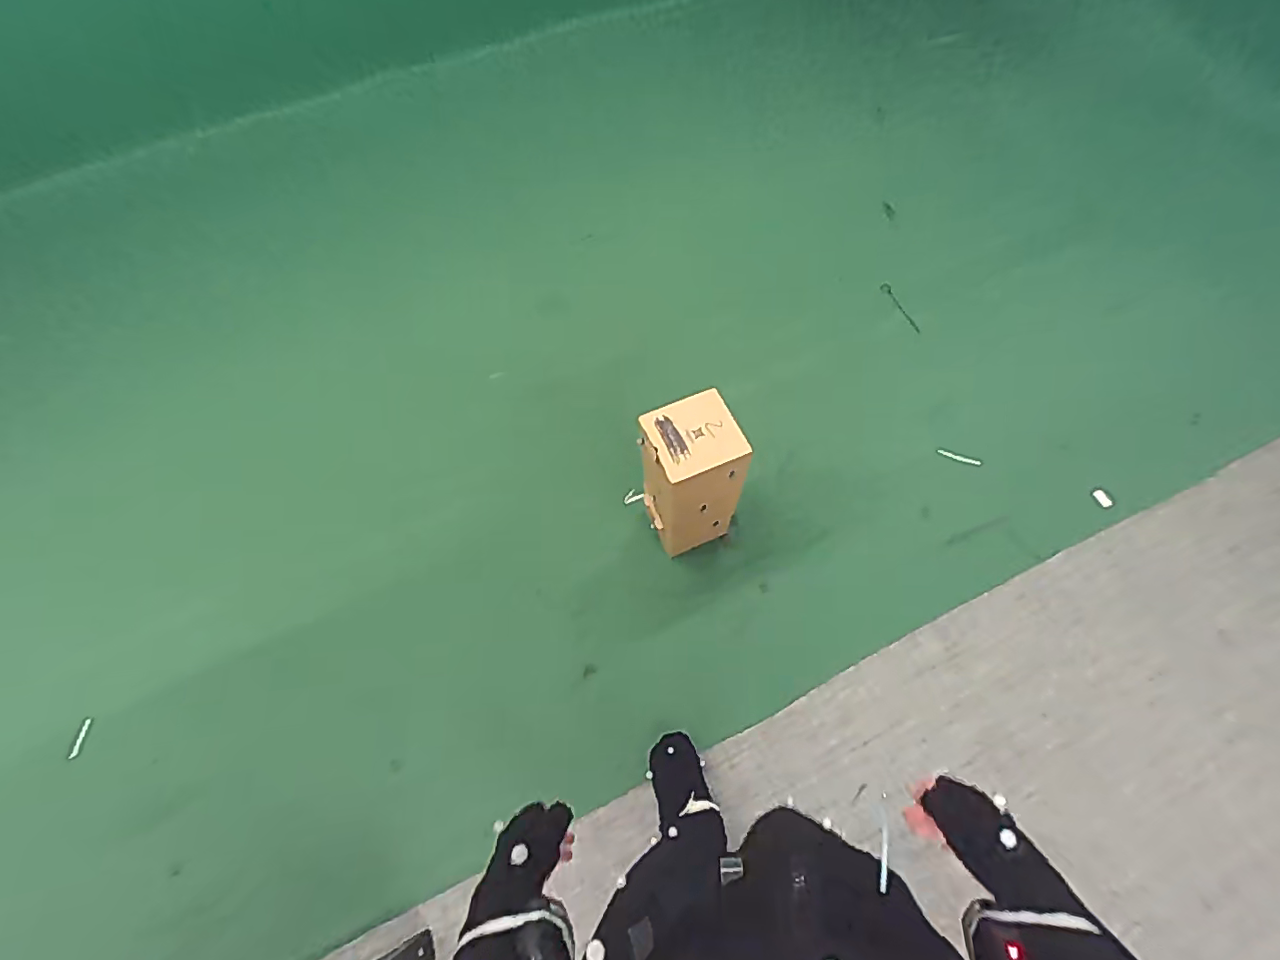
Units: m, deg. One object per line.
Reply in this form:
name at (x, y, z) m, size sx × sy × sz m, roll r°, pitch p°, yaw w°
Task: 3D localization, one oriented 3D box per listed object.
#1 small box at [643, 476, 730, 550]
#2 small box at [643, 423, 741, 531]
small box at (0.116, 0.062, 1.430) m, size 0.179 × 0.176 × 0.168 m, roll -22°, pitch 66°, yaw -8°
small box at (0.115, -0.002, 1.280) m, size 0.179 × 0.176 × 0.168 m, roll -22°, pitch 66°, yaw -8°
